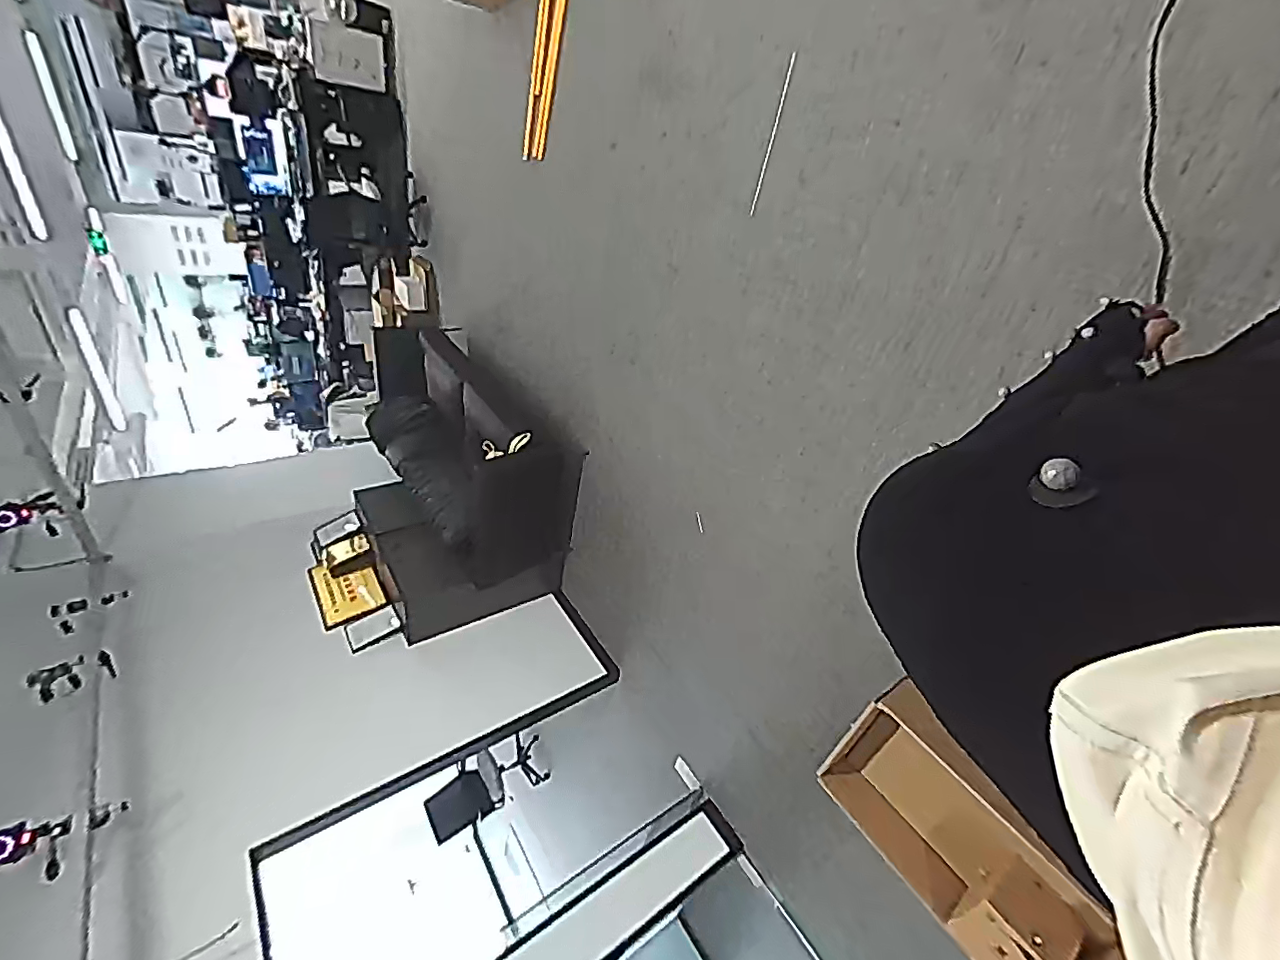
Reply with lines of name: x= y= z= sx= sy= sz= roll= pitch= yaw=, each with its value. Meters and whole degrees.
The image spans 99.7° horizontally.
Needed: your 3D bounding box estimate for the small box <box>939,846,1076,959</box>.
small box: x=0.830 y=0.980 z=1.221 sx=0.168 sy=0.176 sz=0.179 roll=46 pitch=136 yaw=35
